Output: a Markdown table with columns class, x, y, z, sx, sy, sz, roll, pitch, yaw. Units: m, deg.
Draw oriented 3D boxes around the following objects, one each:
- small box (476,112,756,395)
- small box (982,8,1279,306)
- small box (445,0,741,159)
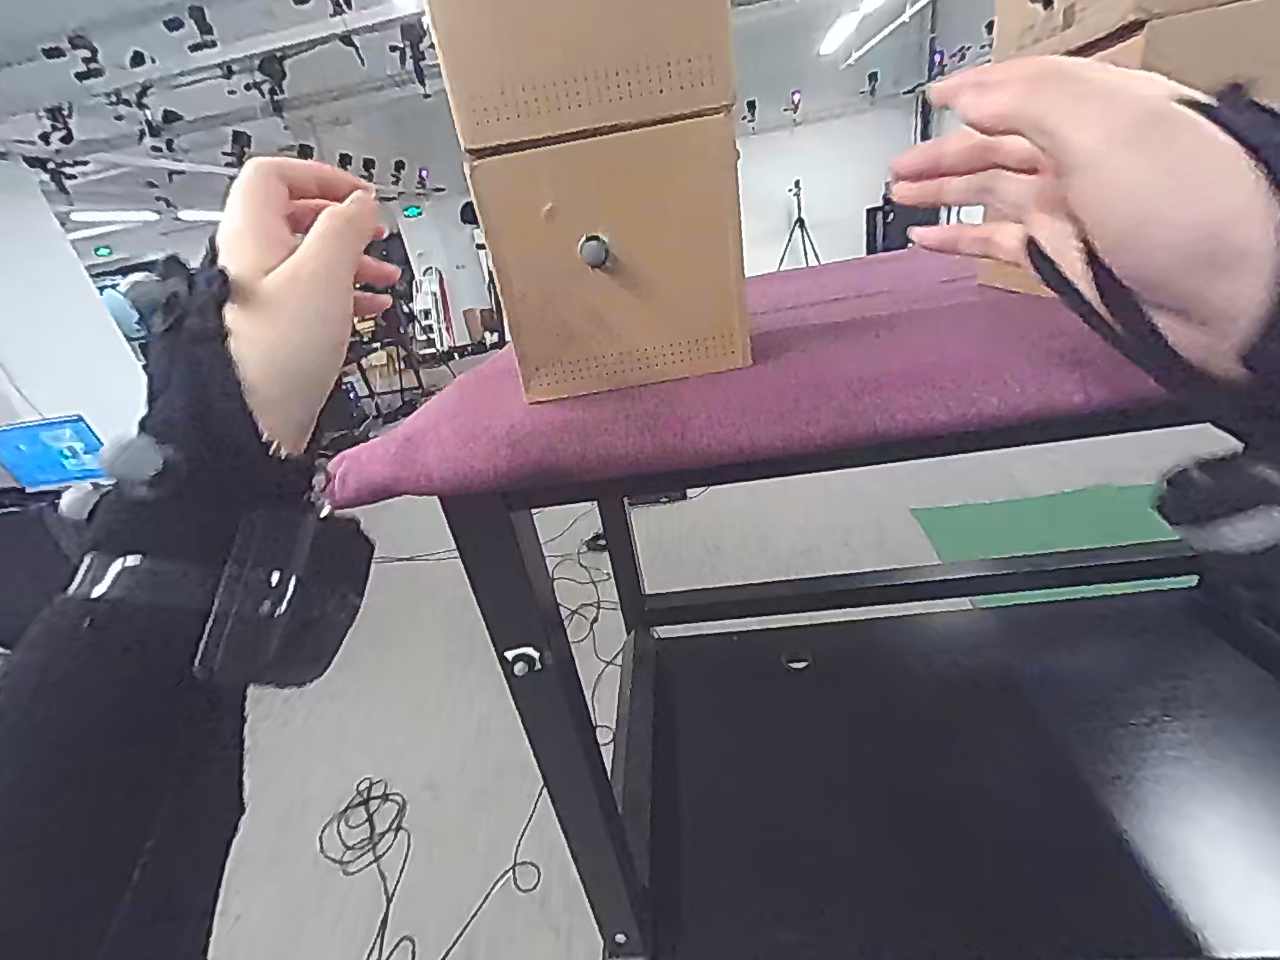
| class | x | y | z | sx | sy | sz | roll | pitch | yaw |
| --- | --- | --- | --- | --- | --- | --- | --- | --- | --- |
| small box | -0.011 | -0.179 | 0.452 | 0.179 | 0.176 | 0.168 | -9 | 27 | 2 |
| small box | 0.401 | -0.239 | 0.423 | 0.168 | 0.176 | 0.179 | -6 | 25 | 7 |
| small box | -0.036 | -0.325 | 0.379 | 0.179 | 0.176 | 0.168 | -9 | 26 | 0 |
